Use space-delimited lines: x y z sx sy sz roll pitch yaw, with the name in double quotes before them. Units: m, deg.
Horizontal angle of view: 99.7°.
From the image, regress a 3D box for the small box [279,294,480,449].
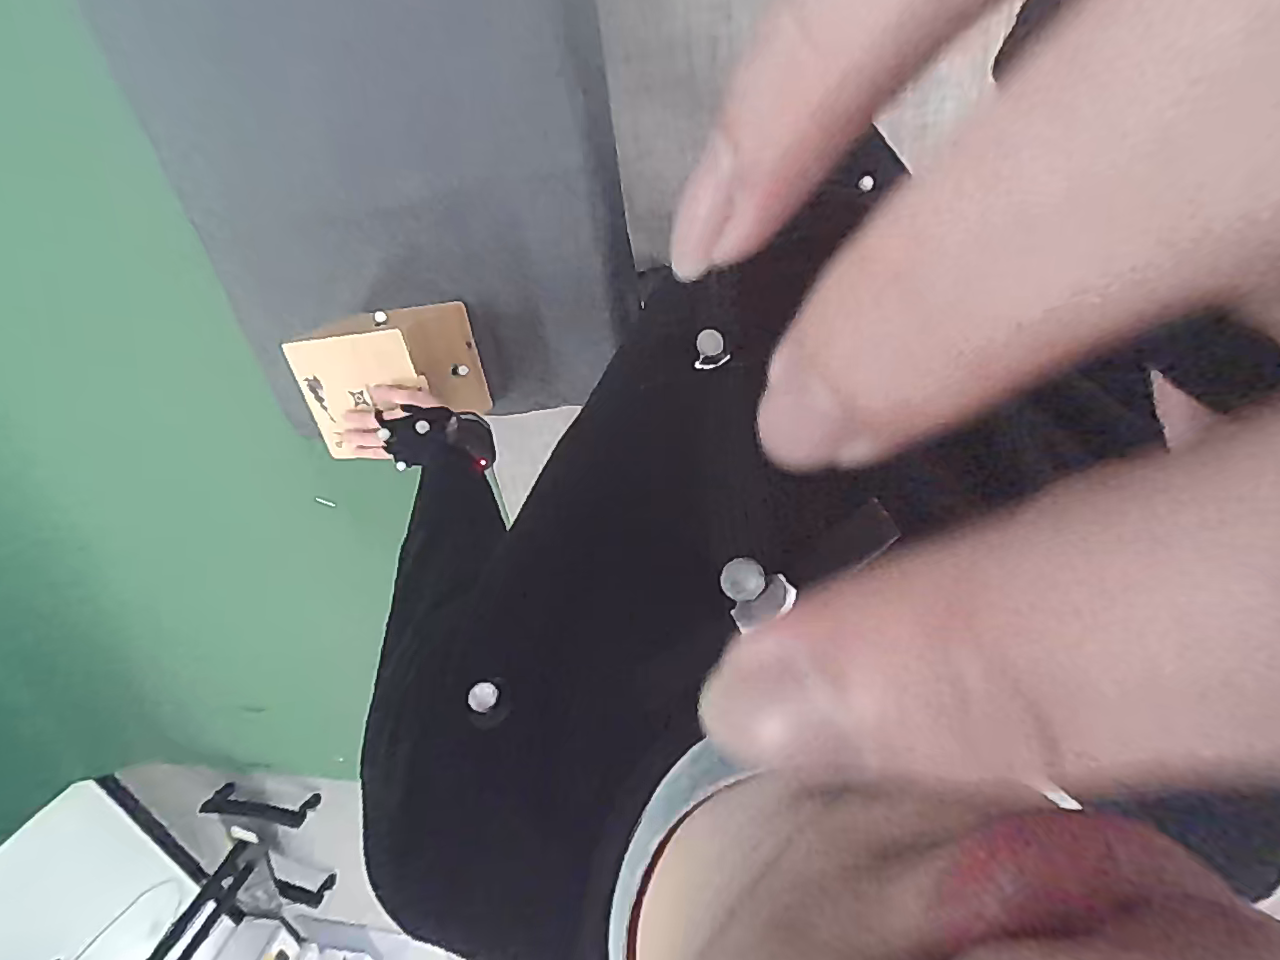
"small box" -0.344 -0.157 0.761 0.179 0.176 0.168 -3 118 11
